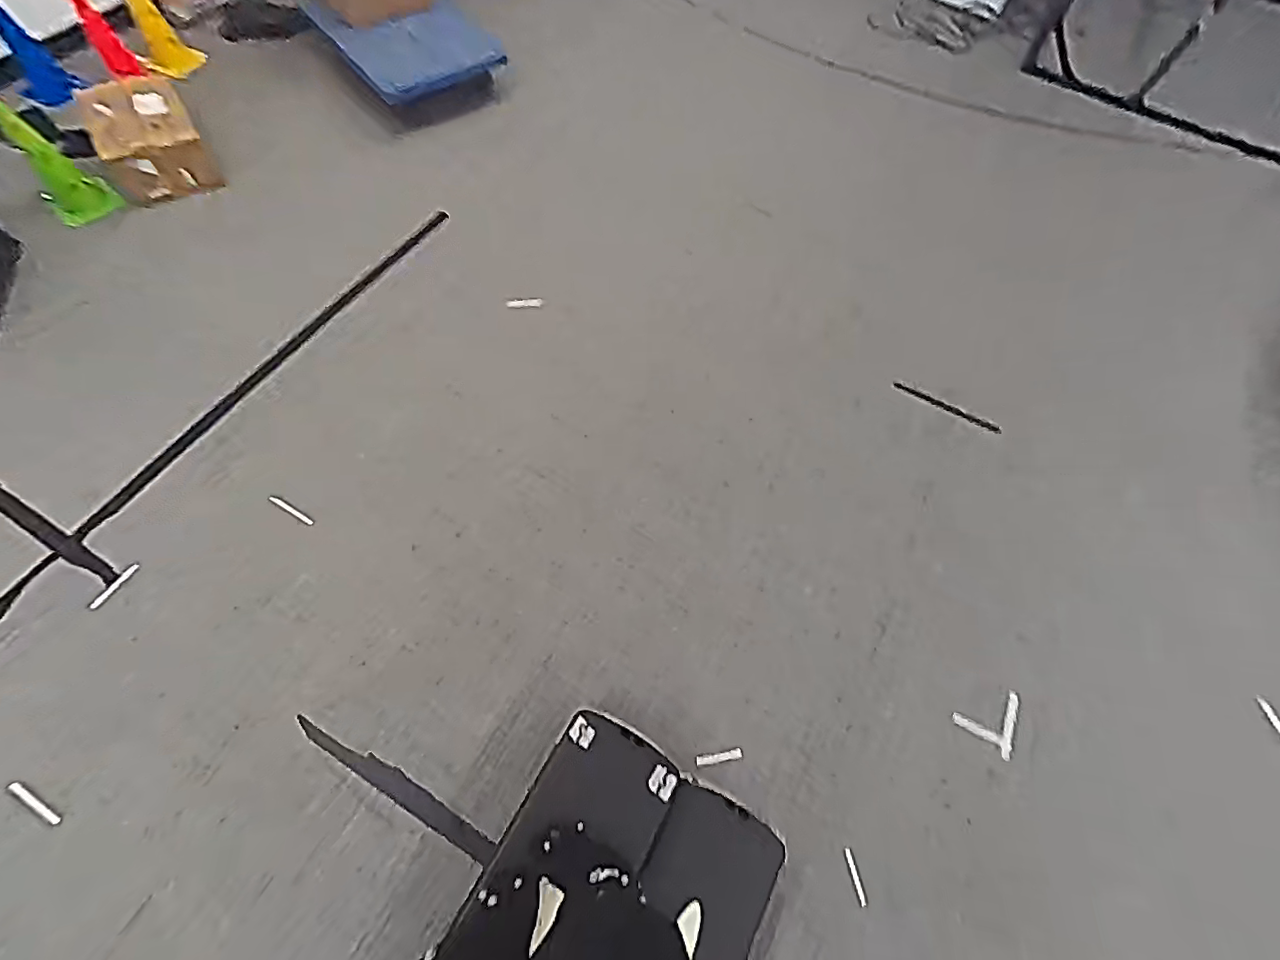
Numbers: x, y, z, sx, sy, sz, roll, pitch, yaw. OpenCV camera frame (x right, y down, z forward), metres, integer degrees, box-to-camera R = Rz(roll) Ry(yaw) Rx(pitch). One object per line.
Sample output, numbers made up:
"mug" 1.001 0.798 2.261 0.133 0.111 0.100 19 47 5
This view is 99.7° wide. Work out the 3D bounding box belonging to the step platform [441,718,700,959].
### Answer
"step platform" -0.154 0.867 1.130 0.286 0.204 0.684 33 63 12
